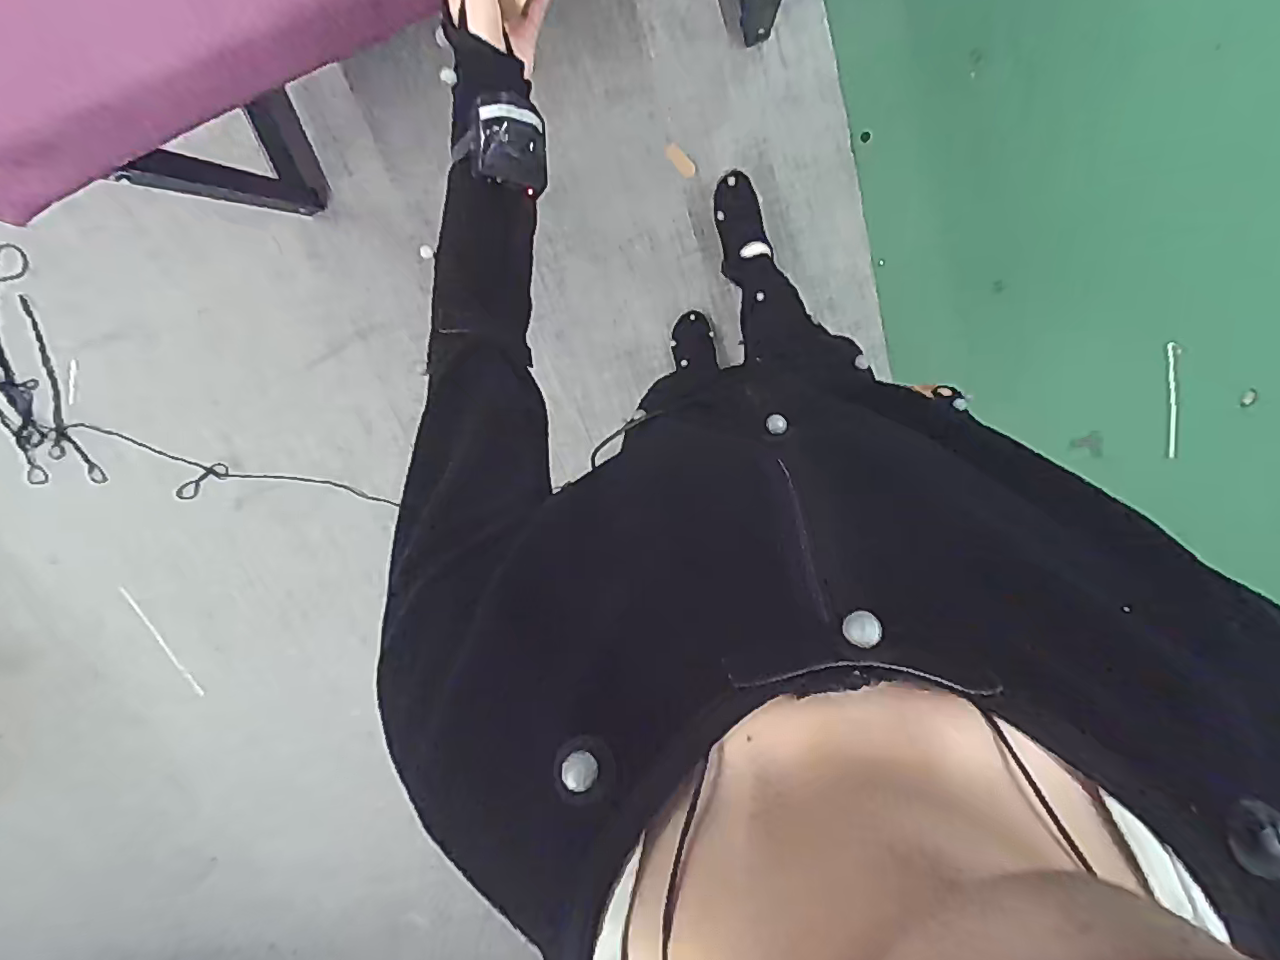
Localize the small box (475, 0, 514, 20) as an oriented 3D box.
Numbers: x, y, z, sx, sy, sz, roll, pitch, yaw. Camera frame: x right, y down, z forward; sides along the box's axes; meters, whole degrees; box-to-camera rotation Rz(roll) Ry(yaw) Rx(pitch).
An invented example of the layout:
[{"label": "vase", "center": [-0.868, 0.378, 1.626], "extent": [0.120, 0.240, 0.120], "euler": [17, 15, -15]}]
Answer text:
[{"label": "small box", "center": [-0.105, -0.511, 0.401], "extent": [0.168, 0.176, 0.179], "euler": [34, 138, -29]}]
